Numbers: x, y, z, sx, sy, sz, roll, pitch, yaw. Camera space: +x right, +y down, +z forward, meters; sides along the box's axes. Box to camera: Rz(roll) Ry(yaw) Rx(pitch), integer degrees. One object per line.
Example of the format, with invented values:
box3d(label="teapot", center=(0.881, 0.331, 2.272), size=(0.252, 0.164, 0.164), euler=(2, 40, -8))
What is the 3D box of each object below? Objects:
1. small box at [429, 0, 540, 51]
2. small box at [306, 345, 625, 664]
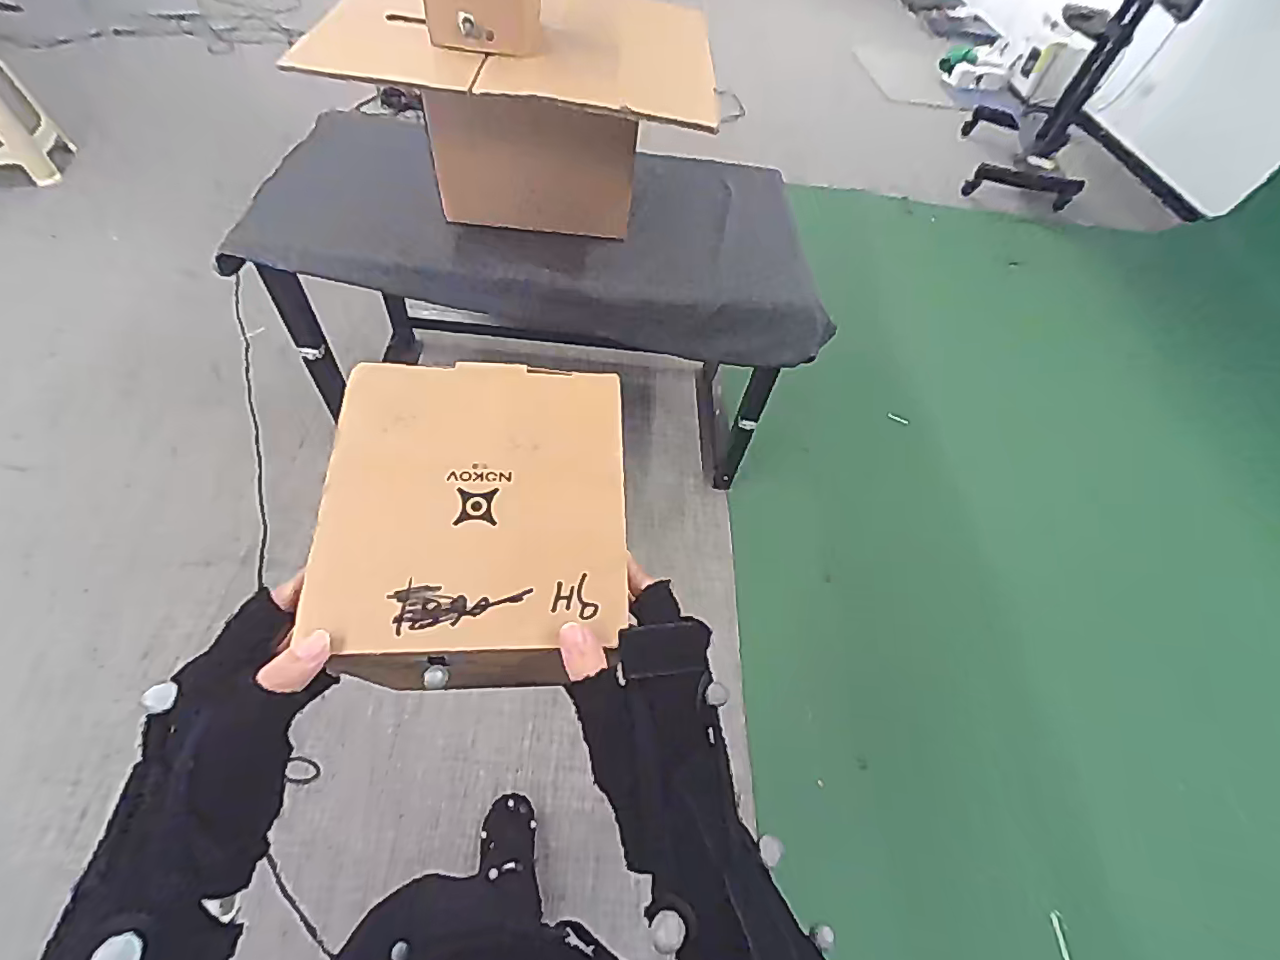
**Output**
box3d(label="small box", center=(-0.261, -0.858, 0.904), size=(0.168, 0.176, 0.179), euler=(4, 57, -3))
box3d(label="small box", center=(-0.103, 0.028, 0.391), size=(0.168, 0.176, 0.179), euler=(1, 63, -7))
